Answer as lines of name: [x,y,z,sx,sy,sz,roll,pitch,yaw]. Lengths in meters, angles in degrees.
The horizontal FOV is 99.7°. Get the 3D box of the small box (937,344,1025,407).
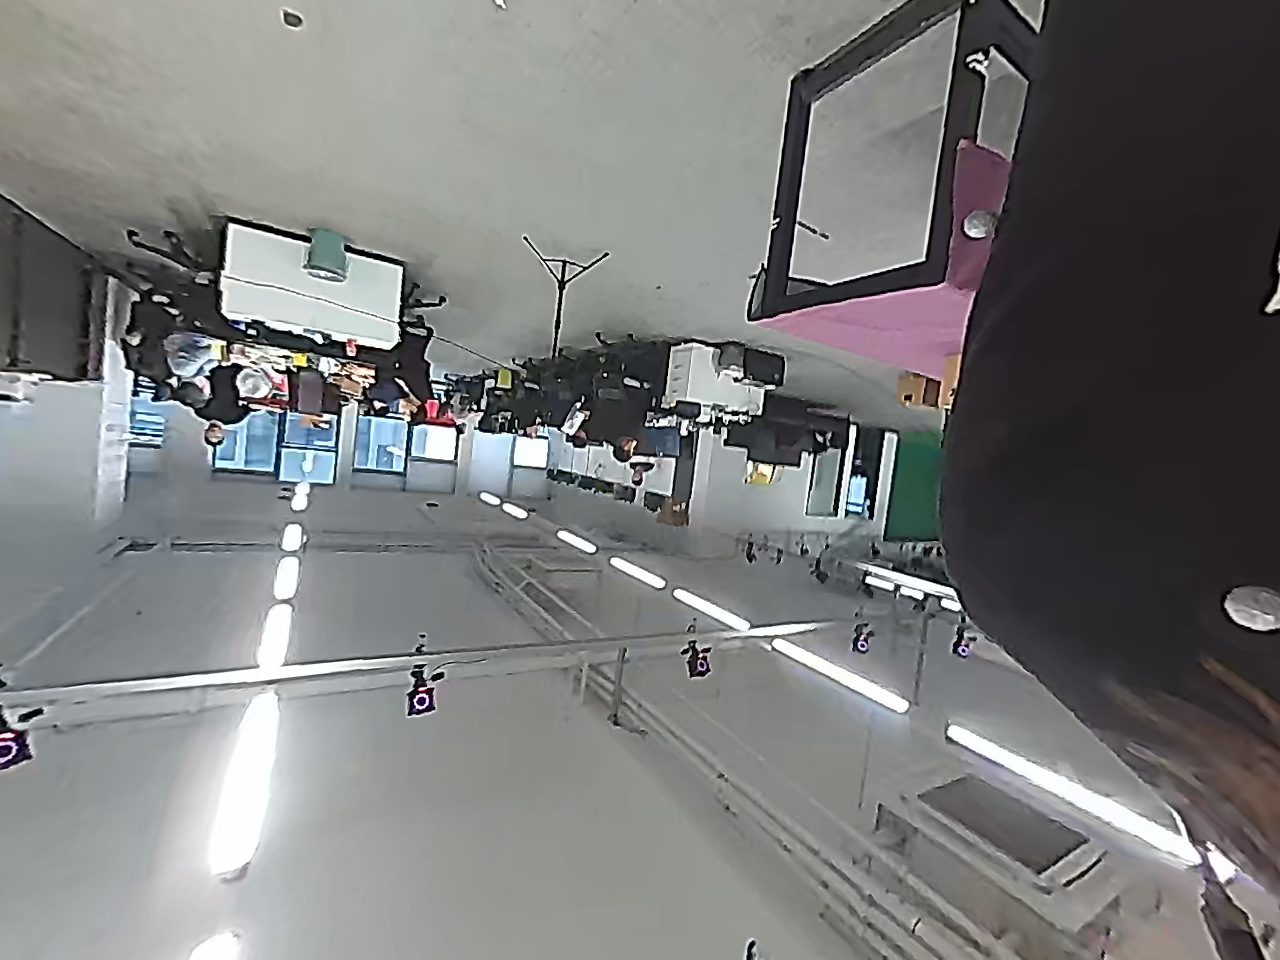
small box: [1.100,-0.333,1.743,0.168,0.176,0.179,4,-176,-27]
